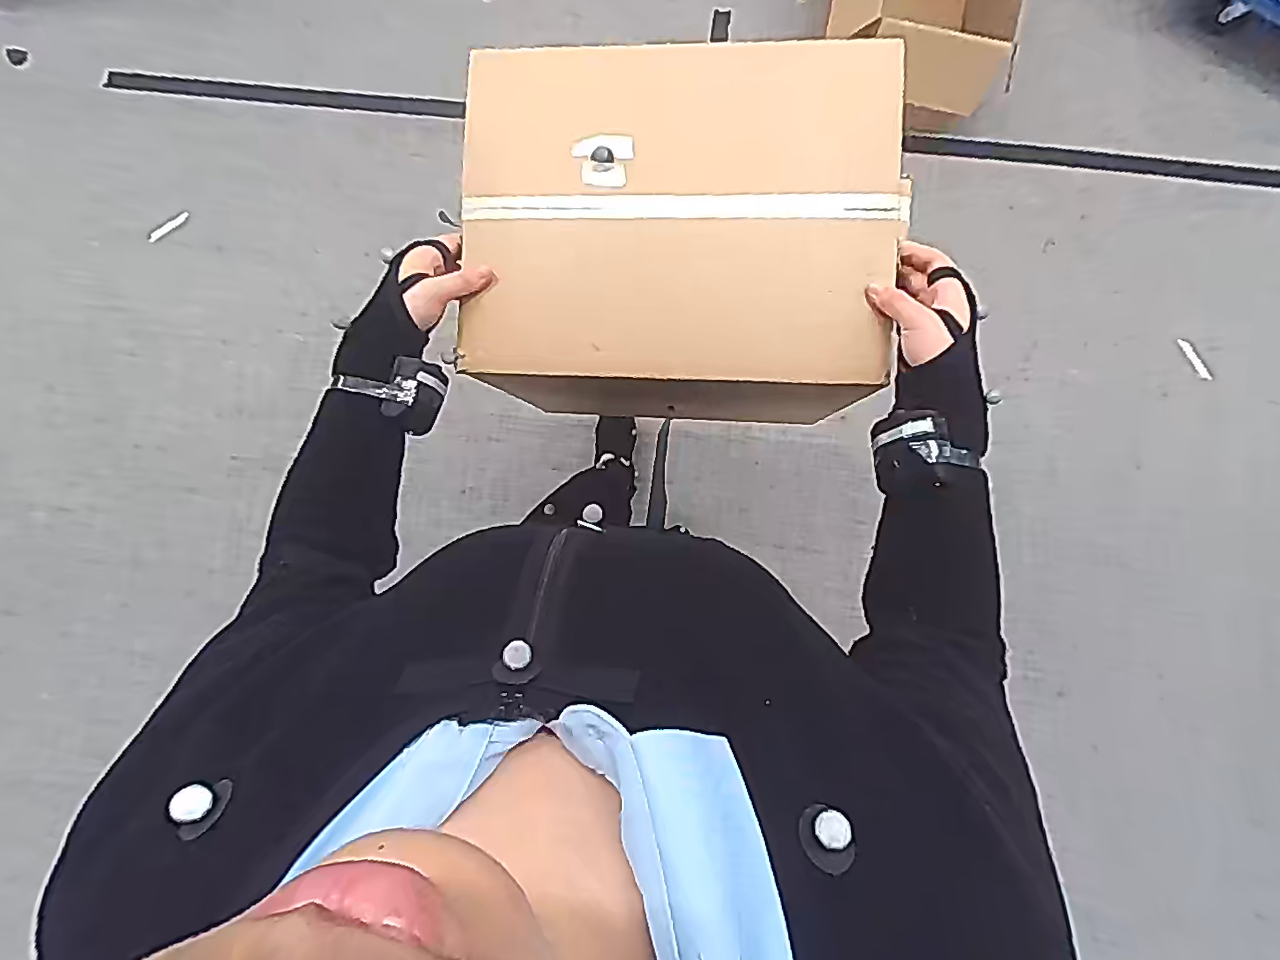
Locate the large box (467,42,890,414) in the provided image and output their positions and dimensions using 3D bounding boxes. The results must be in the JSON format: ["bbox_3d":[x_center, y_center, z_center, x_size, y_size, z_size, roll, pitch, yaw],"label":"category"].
[{"bbox_3d":[0.048,-0.253,0.663,0.408,0.320,0.320,3,88,7],"label":"large box"}]
